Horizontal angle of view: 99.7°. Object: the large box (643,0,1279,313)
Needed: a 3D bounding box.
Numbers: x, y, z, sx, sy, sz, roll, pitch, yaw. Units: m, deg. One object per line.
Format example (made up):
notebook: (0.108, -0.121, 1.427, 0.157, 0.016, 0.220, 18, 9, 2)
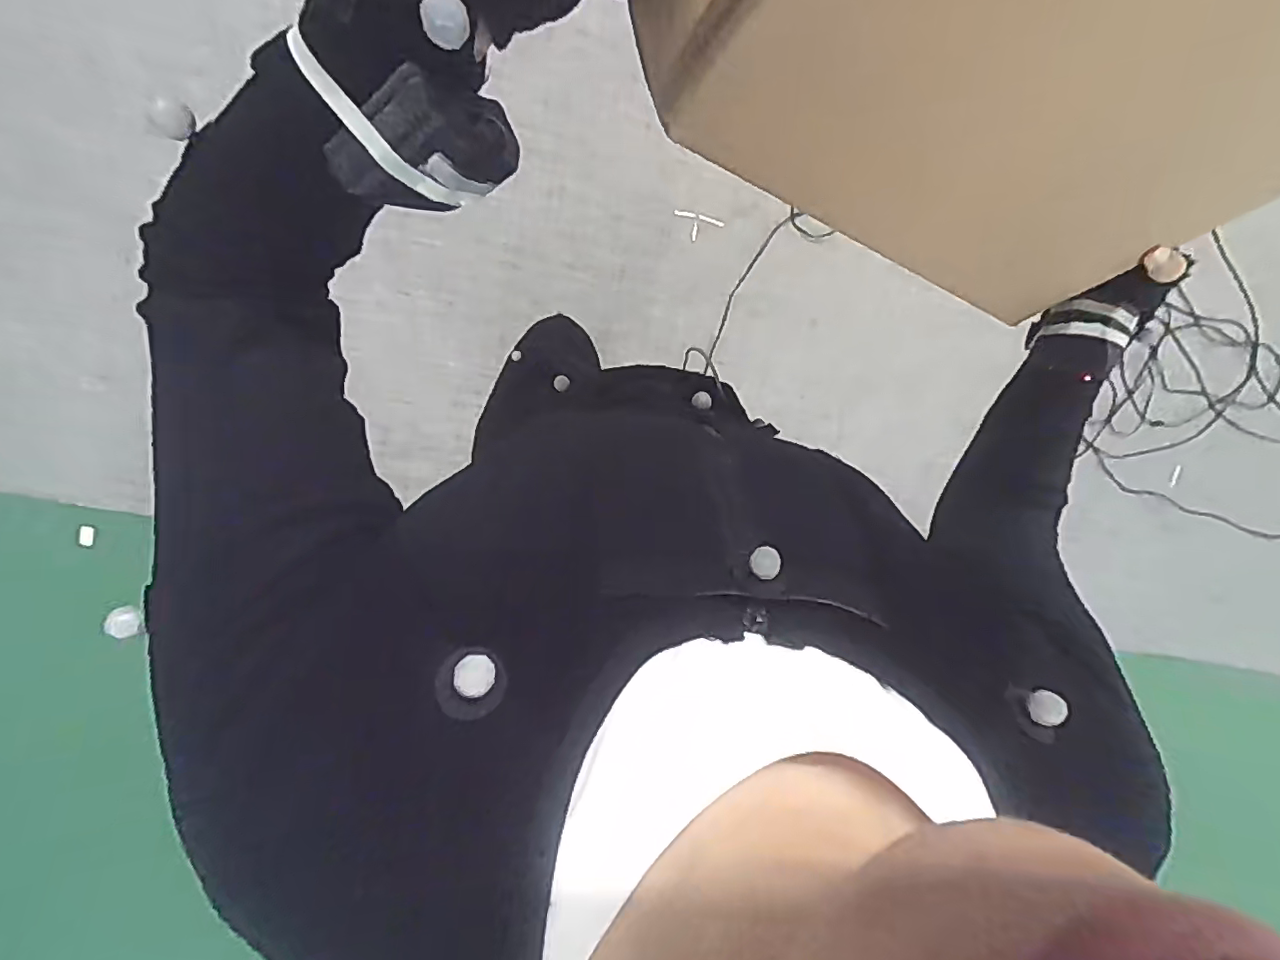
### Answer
large box: (0.229, -0.341, 0.292, 0.408, 0.320, 0.320, 4, 70, -38)
